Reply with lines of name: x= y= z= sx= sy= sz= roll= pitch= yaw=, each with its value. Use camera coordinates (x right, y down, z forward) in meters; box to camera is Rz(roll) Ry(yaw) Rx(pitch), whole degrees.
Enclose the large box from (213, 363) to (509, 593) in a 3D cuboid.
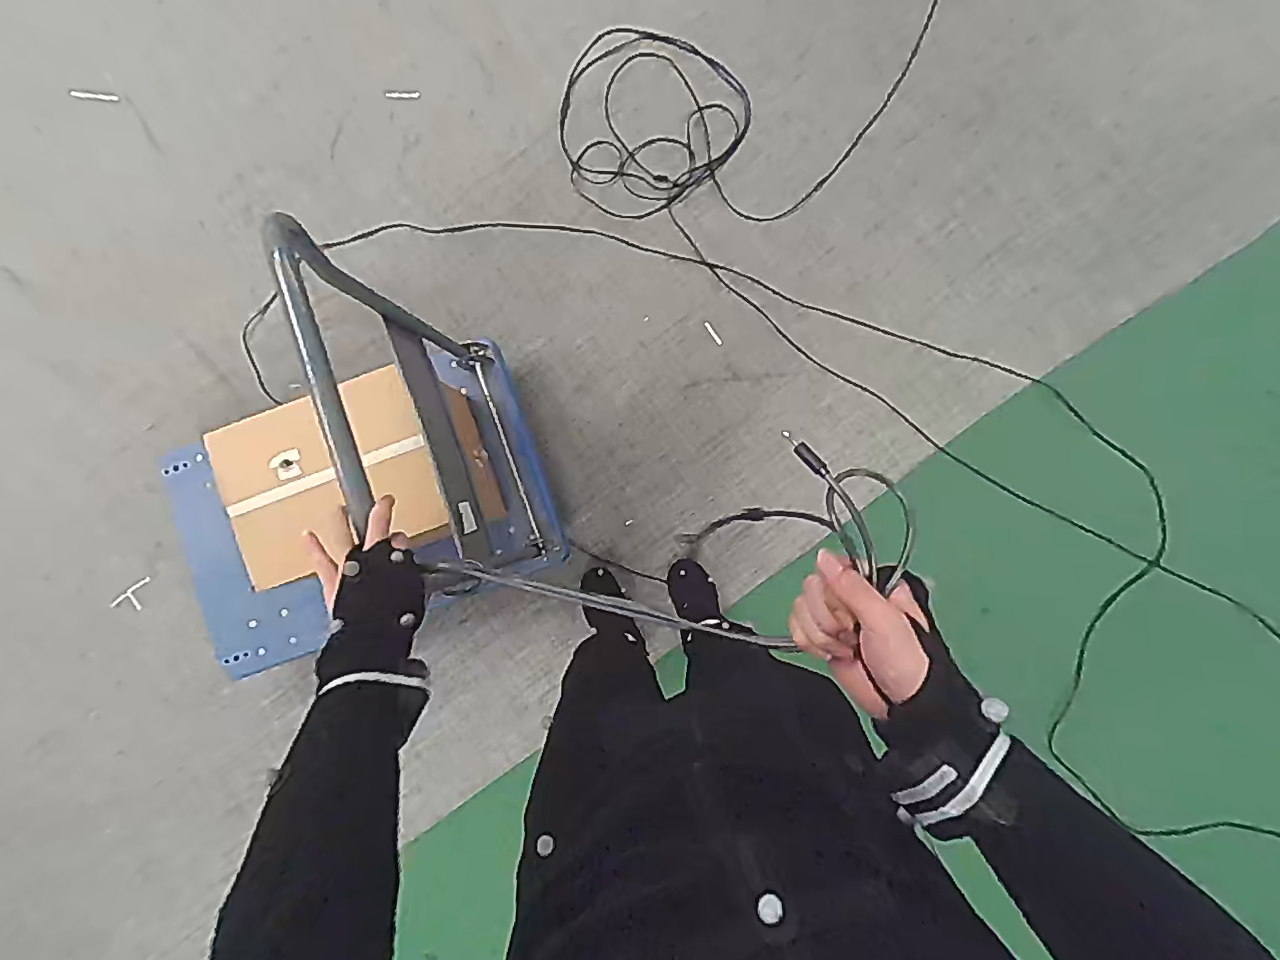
large box: x=-0.547 y=-0.002 z=1.134 sx=0.408 sy=0.320 sz=0.320 roll=-20 pitch=87 yaw=2
